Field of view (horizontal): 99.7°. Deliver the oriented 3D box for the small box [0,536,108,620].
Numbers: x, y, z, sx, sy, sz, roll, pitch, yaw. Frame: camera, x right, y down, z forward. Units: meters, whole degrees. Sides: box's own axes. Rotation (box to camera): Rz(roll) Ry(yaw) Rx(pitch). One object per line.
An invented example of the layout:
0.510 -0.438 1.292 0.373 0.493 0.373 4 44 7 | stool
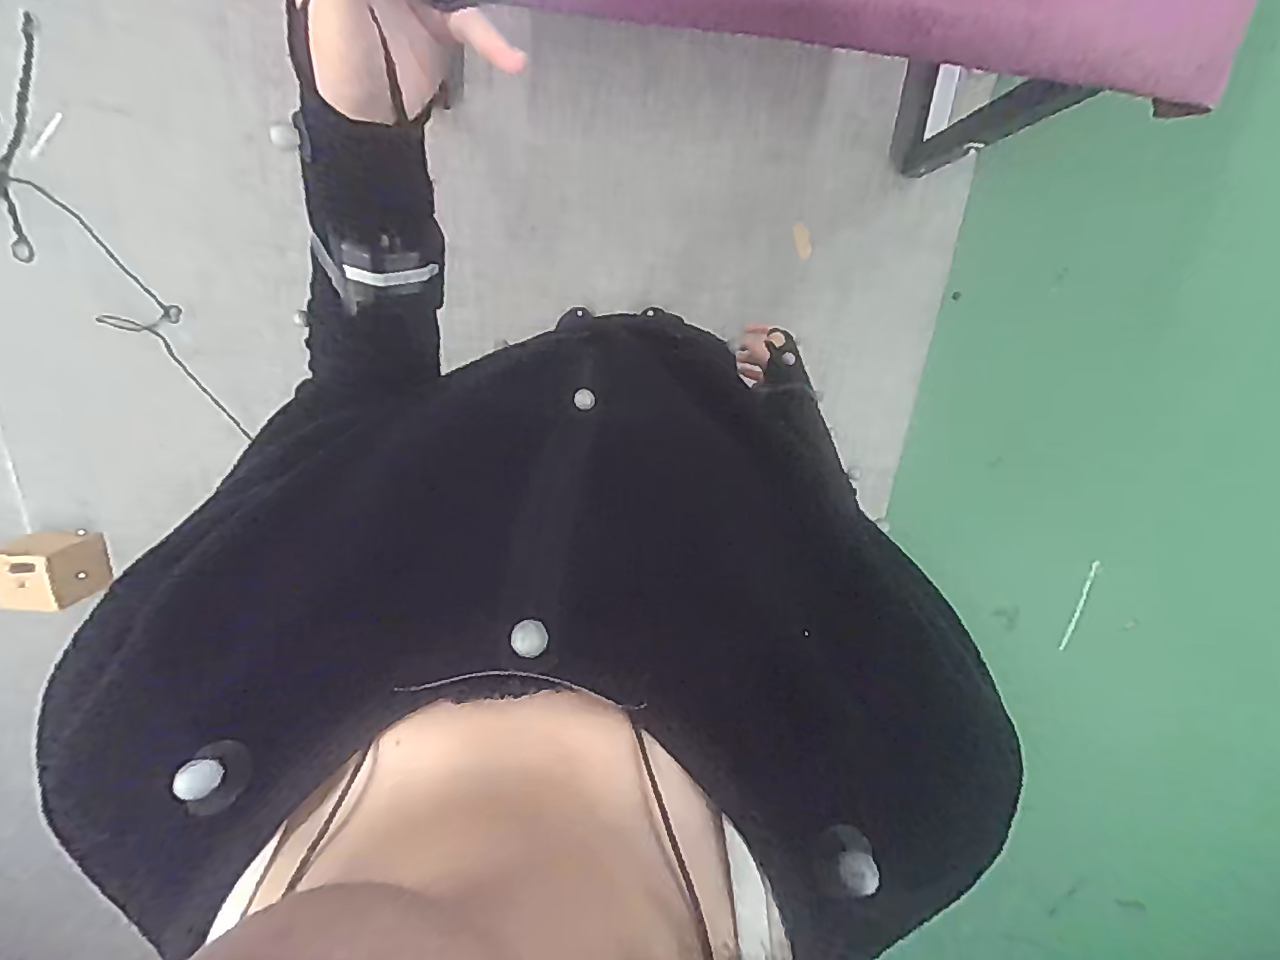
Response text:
-1.678 0.272 1.532 0.168 0.176 0.179 5 108 -1 | small box
